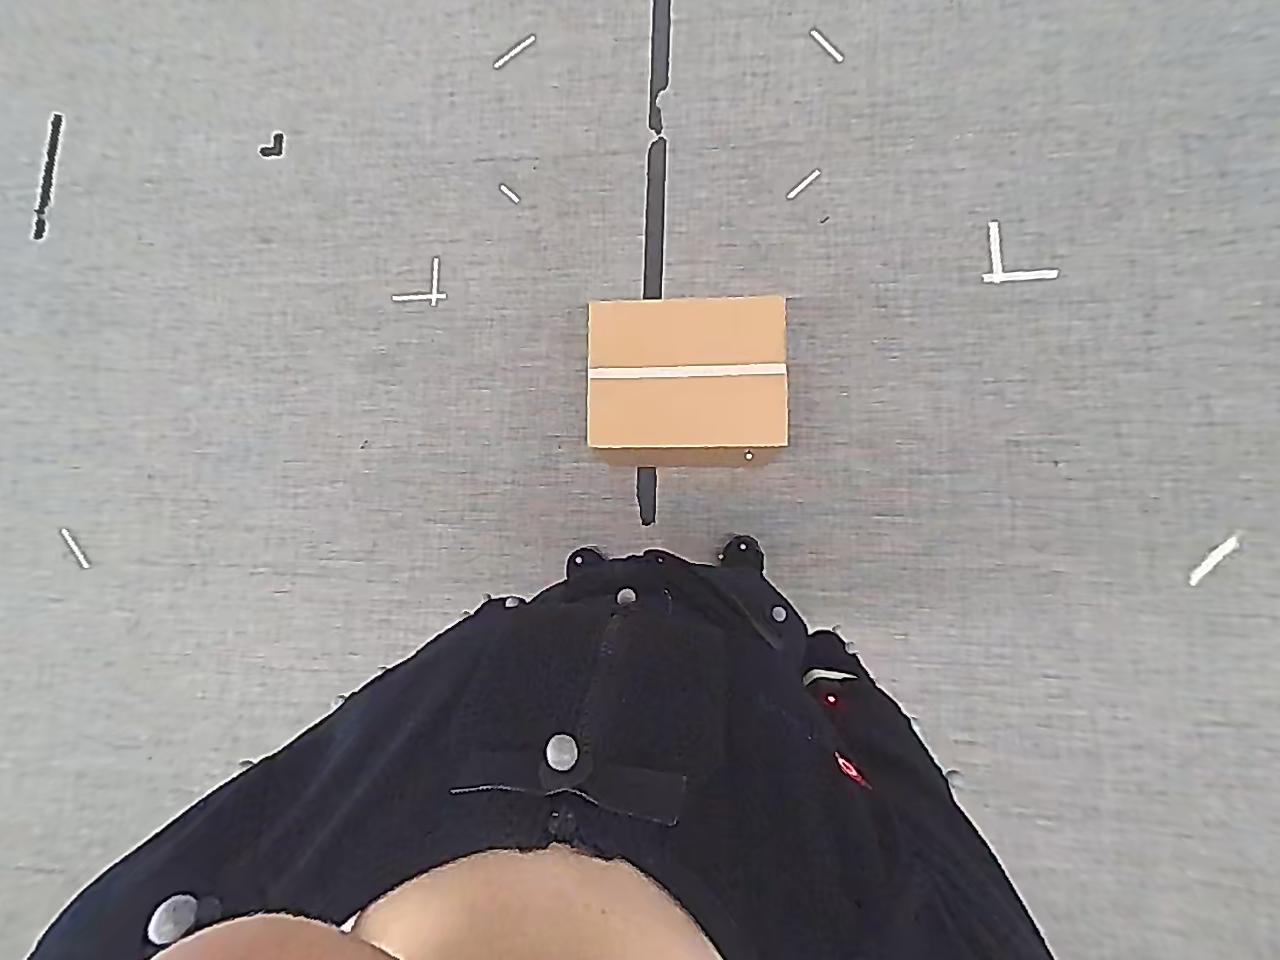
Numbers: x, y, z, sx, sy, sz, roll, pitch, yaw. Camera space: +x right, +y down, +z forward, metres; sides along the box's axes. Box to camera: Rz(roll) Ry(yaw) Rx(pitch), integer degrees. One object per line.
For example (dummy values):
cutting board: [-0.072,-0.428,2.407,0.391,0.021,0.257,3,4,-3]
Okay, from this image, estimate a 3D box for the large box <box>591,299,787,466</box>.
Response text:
large box: [0.111,-0.201,1.257,0.408,0.320,0.320,0,84,5]
